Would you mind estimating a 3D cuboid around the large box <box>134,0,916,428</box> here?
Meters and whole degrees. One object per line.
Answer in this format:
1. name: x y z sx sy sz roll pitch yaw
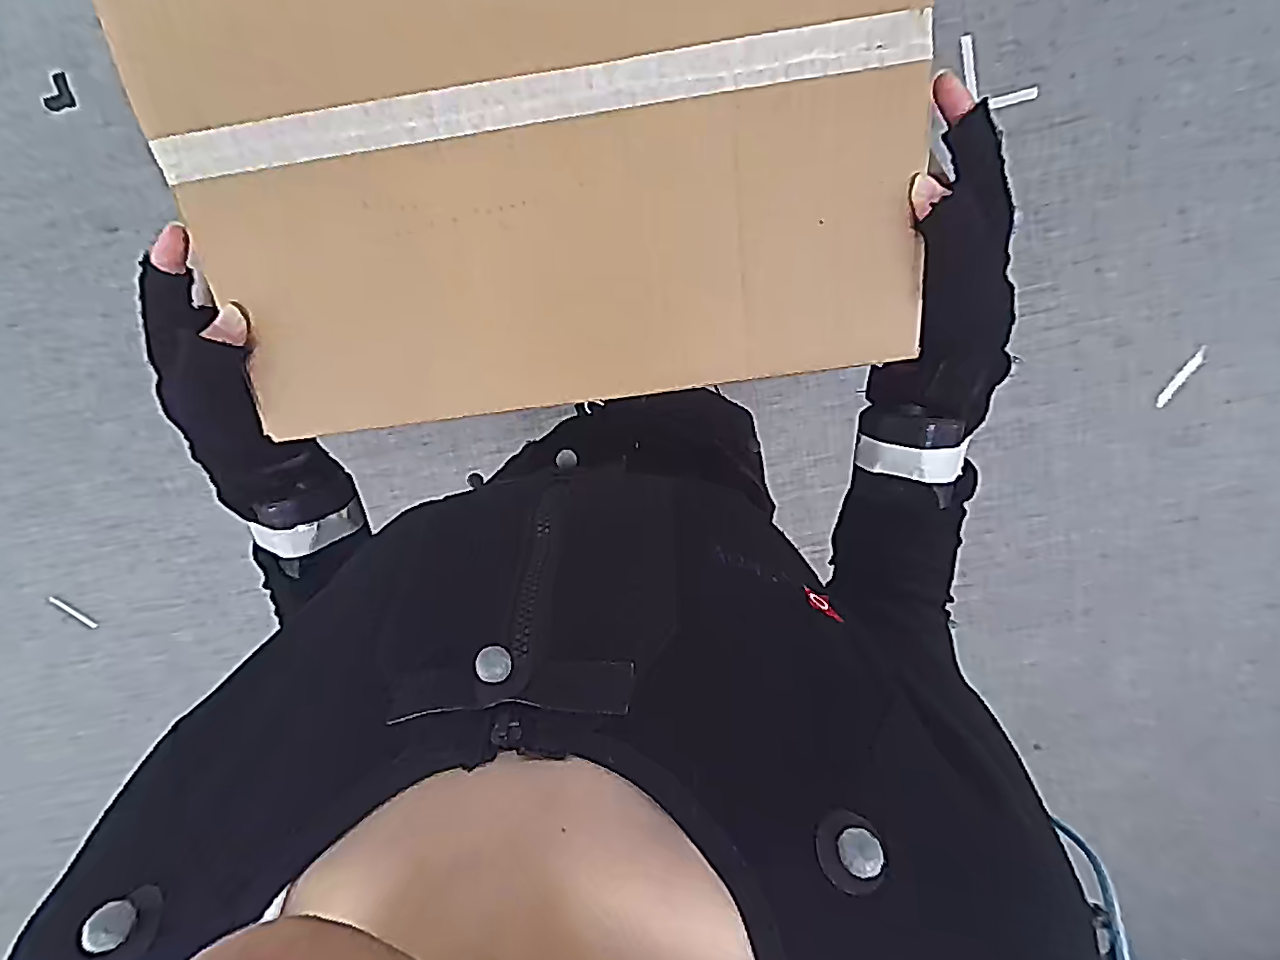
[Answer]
1. large box: -0.054 -0.252 0.432 0.408 0.320 0.320 -7 111 3
